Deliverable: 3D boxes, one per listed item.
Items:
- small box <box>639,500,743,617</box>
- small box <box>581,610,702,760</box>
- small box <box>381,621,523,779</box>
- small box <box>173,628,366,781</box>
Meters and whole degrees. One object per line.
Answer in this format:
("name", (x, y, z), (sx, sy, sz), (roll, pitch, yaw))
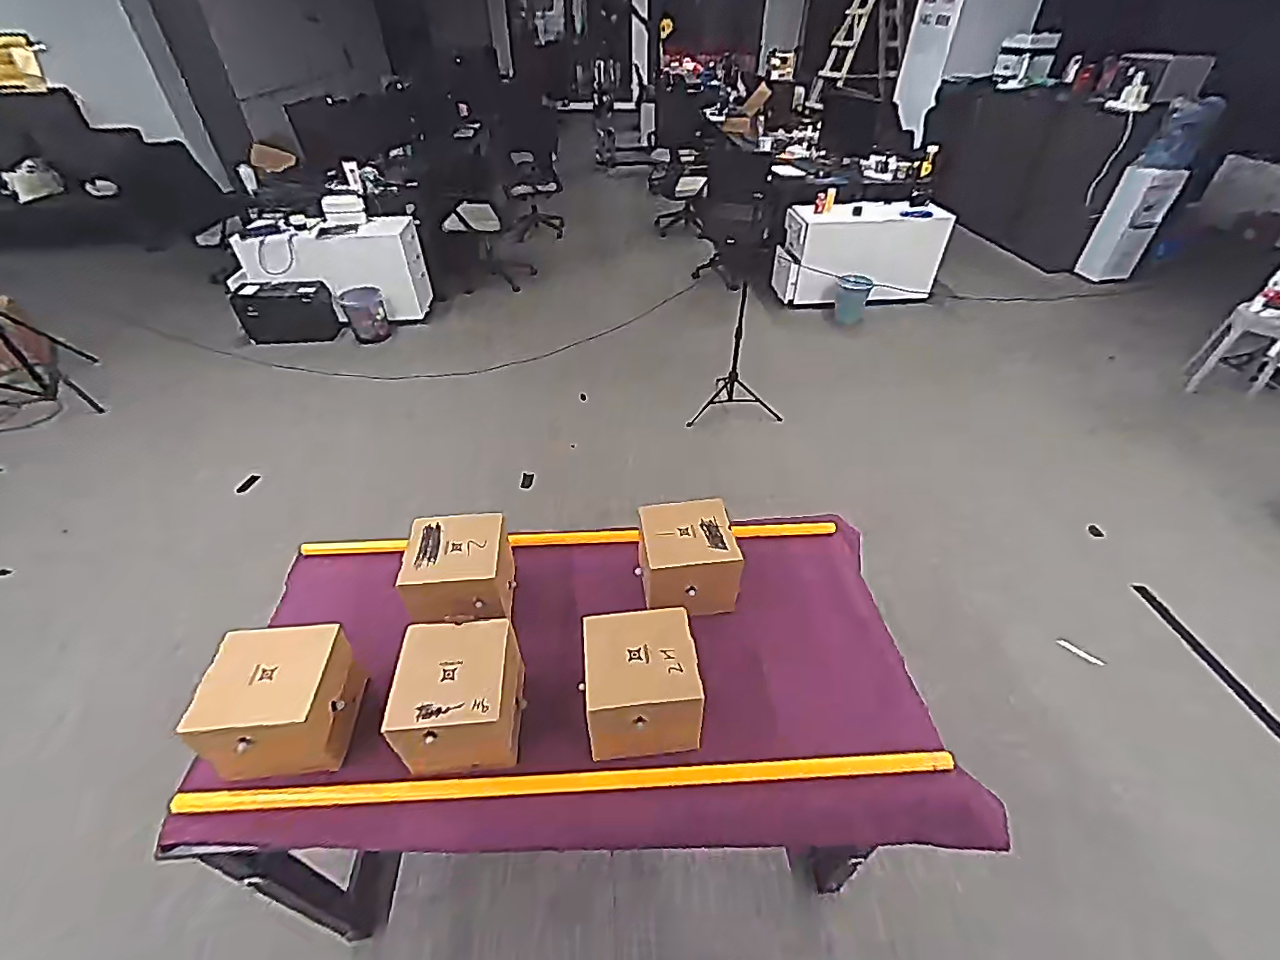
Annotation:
("small box", (0.093, 0.162, 1.085), (0.179, 0.176, 0.168), (-6, 42, -5))
("small box", (-0.001, 0.336, 0.884), (0.179, 0.176, 0.168), (-4, 40, -4))
("small box", (-0.286, 0.352, 0.870), (0.168, 0.176, 0.179), (-4, 41, -3))
("small box", (-0.567, 0.358, 0.863), (0.179, 0.176, 0.168), (-3, 40, -4))
